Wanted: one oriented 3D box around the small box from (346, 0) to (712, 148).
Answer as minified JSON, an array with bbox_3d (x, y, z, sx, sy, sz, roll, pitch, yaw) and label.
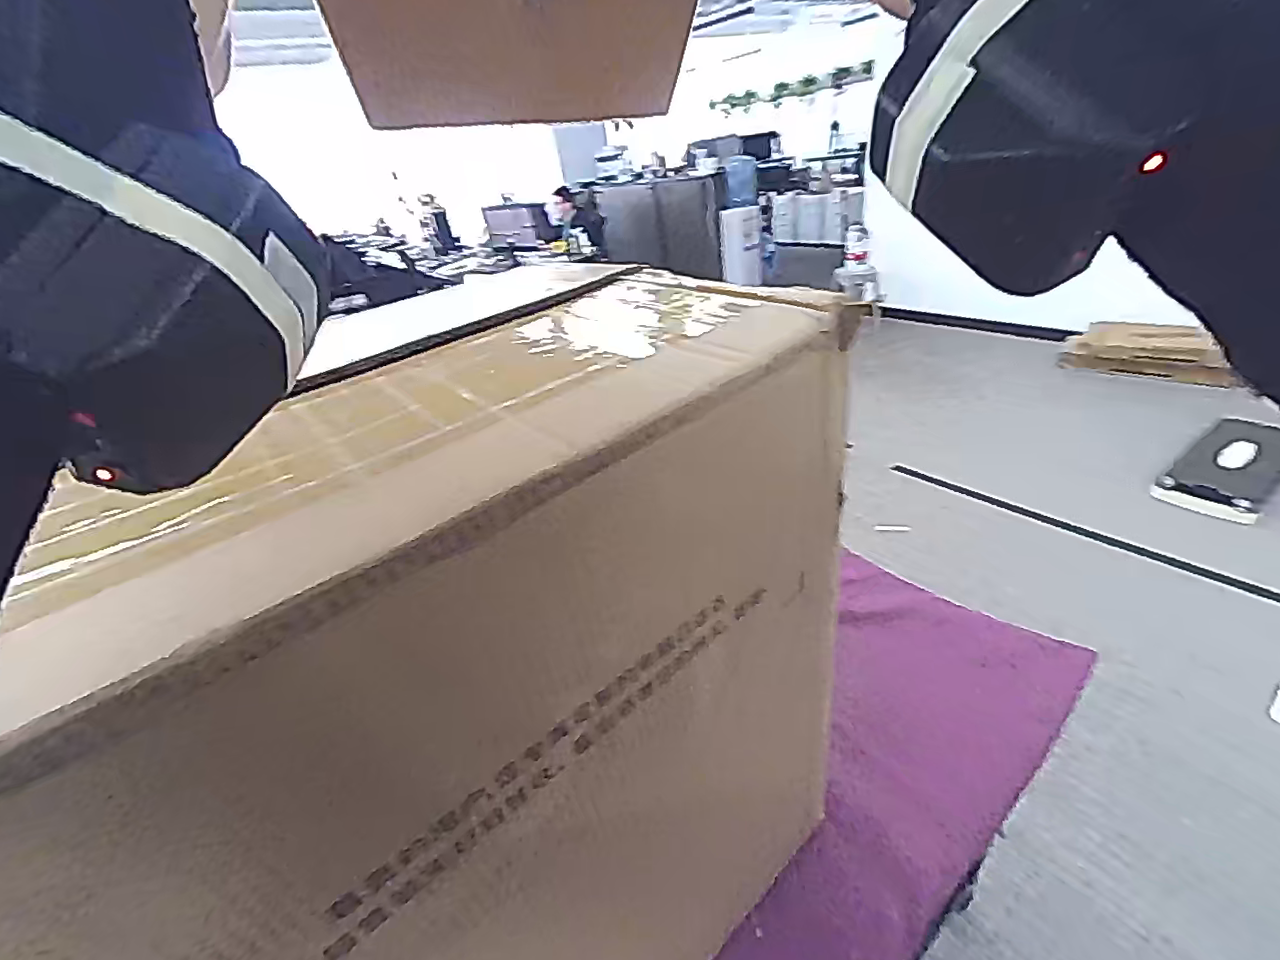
[{"bbox_3d":[-0.058,-0.289,0.237,0.168,0.179,0.176,-9,-5,-10],"label":"small box"}]
